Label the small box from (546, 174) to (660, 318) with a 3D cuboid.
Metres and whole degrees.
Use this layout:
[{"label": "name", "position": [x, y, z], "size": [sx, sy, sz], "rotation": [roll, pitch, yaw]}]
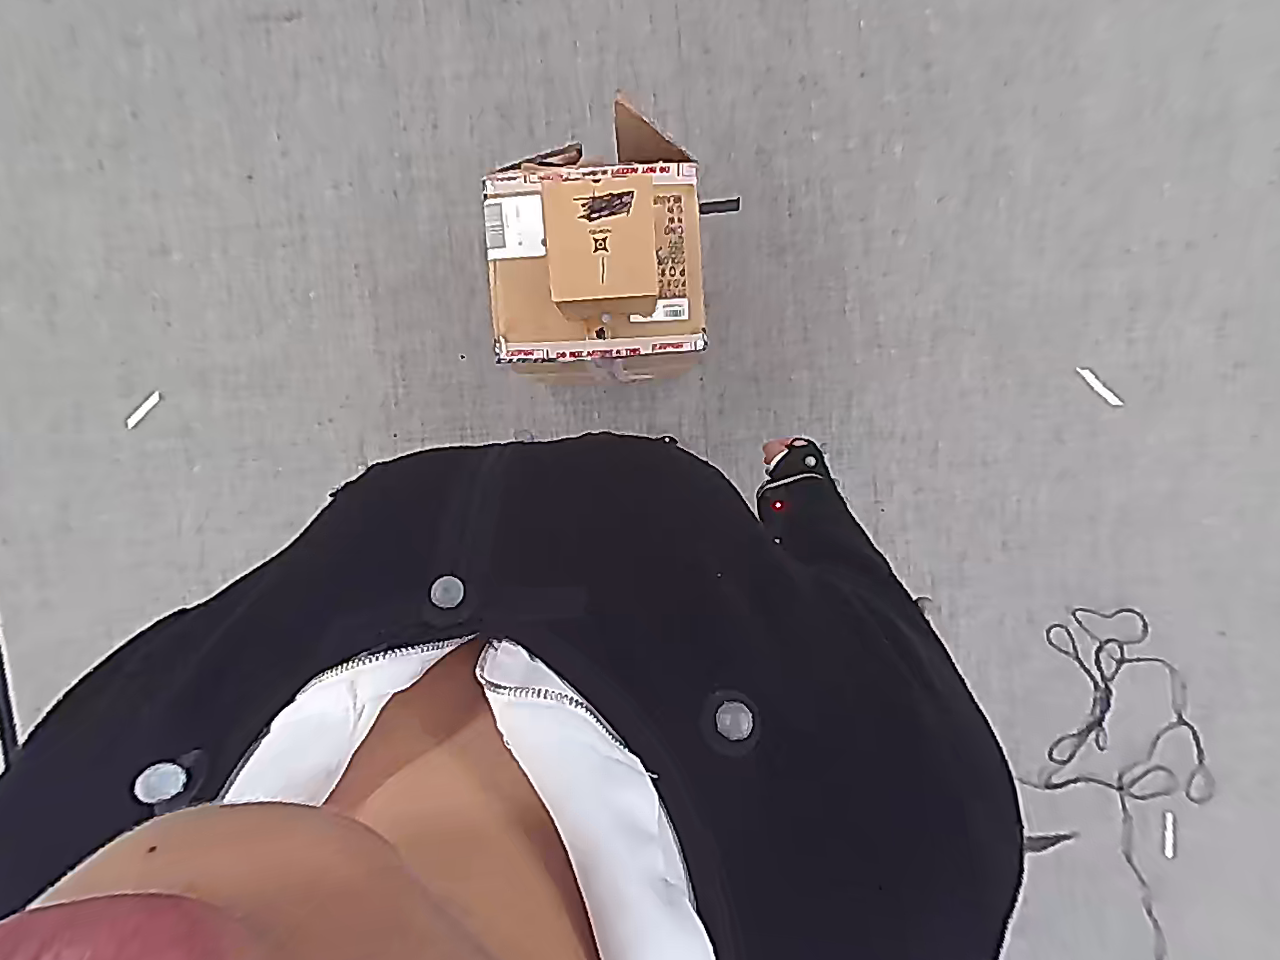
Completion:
[{"label": "small box", "position": [-0.058, -0.375, 0.893], "size": [0.168, 0.176, 0.179], "rotation": [-4, 98, 0]}]
